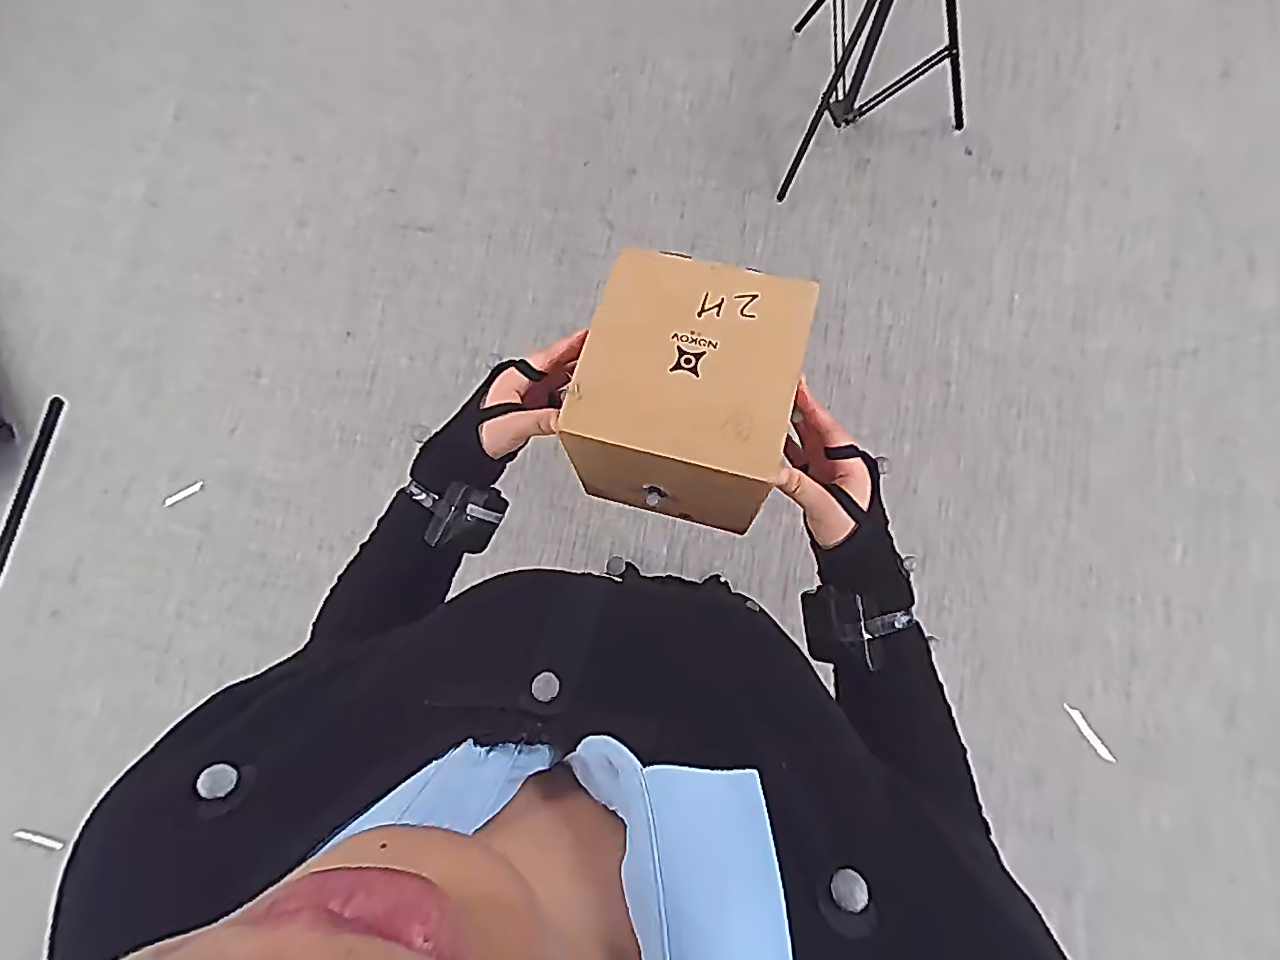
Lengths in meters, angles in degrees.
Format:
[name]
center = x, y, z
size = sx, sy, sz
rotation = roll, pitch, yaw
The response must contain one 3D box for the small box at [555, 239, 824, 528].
[small box]
center = 0.044, -0.071, 0.478
size = 0.168, 0.176, 0.179
rotation = 16, 73, 7
